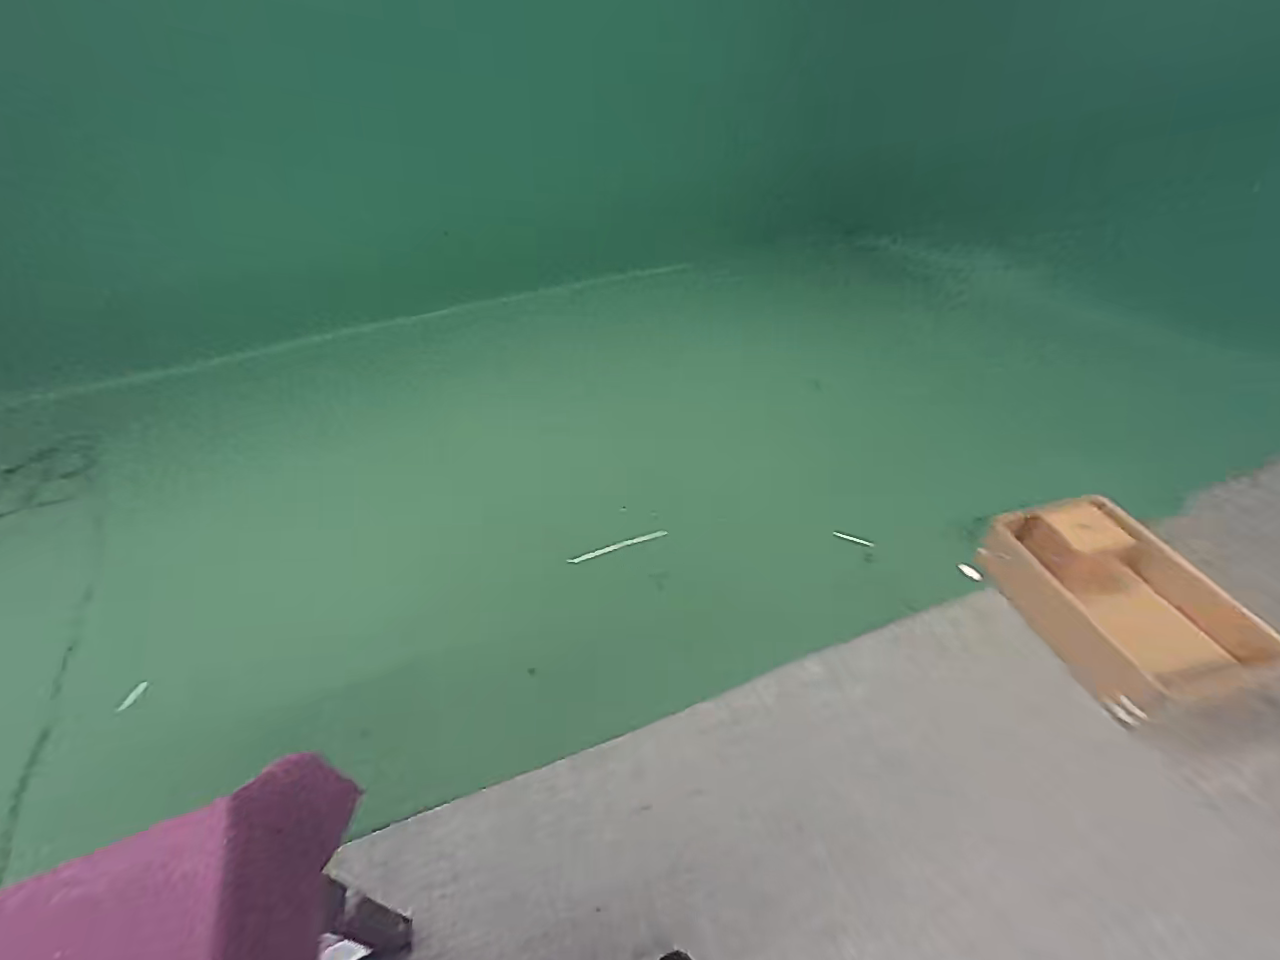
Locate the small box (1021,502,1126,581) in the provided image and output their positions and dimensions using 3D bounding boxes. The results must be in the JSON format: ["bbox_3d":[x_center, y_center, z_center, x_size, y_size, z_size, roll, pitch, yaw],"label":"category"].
[{"bbox_3d":[1.341,0.196,1.694,0.179,0.176,0.168,-10,43,-5],"label":"small box"}]
